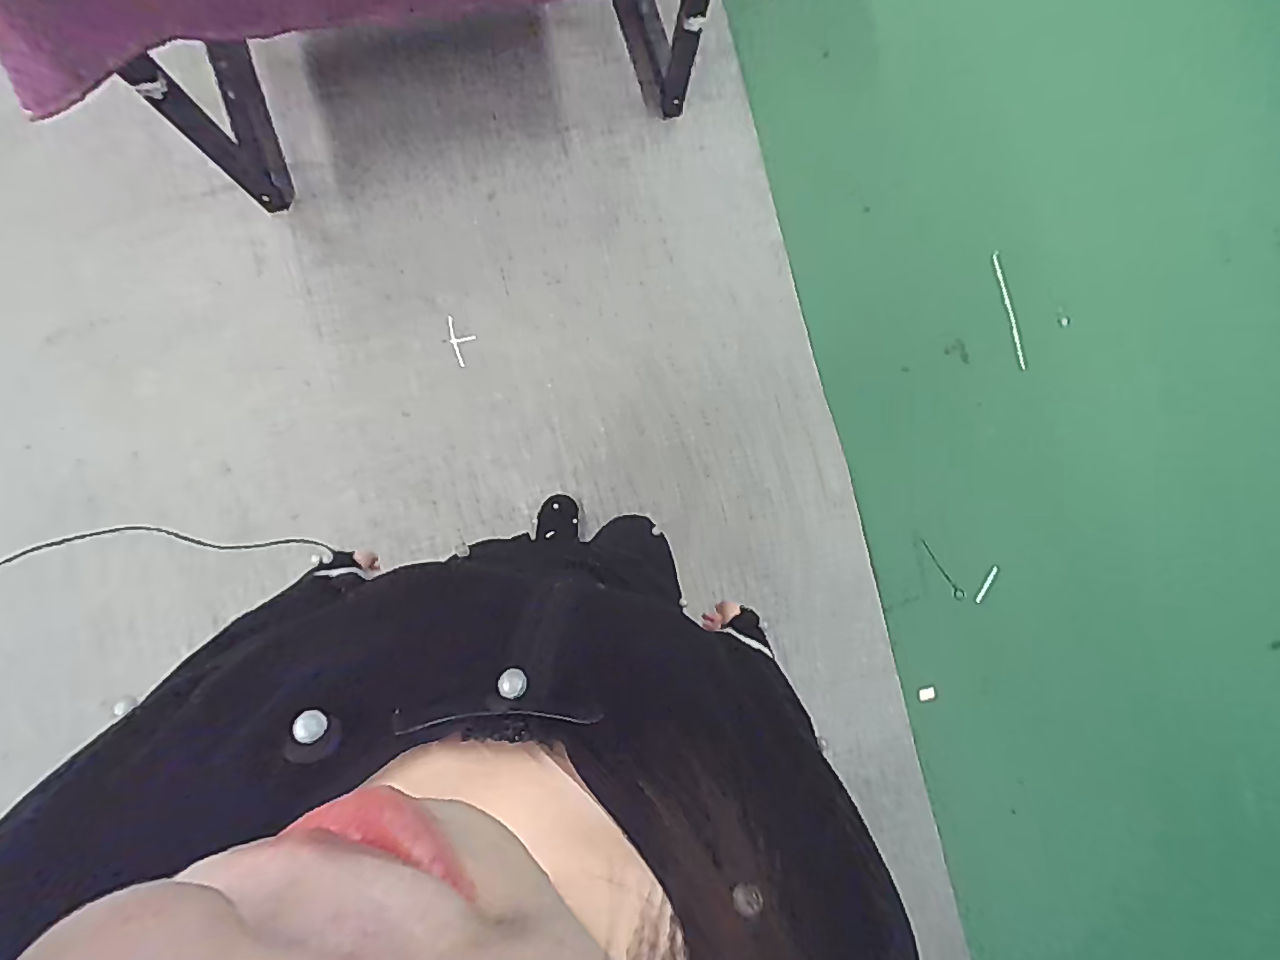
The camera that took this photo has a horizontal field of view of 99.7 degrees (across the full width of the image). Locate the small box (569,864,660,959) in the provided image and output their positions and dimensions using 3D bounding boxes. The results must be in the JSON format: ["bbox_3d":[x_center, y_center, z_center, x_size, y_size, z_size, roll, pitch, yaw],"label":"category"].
[{"bbox_3d":[-0.047,0.926,1.085,0.168,0.176,0.179,-9,91,-7],"label":"small box"}]

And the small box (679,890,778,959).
[{"bbox_3d":[0.186,0.994,1.114,0.168,0.176,0.179,-11,91,-7],"label":"small box"}]
